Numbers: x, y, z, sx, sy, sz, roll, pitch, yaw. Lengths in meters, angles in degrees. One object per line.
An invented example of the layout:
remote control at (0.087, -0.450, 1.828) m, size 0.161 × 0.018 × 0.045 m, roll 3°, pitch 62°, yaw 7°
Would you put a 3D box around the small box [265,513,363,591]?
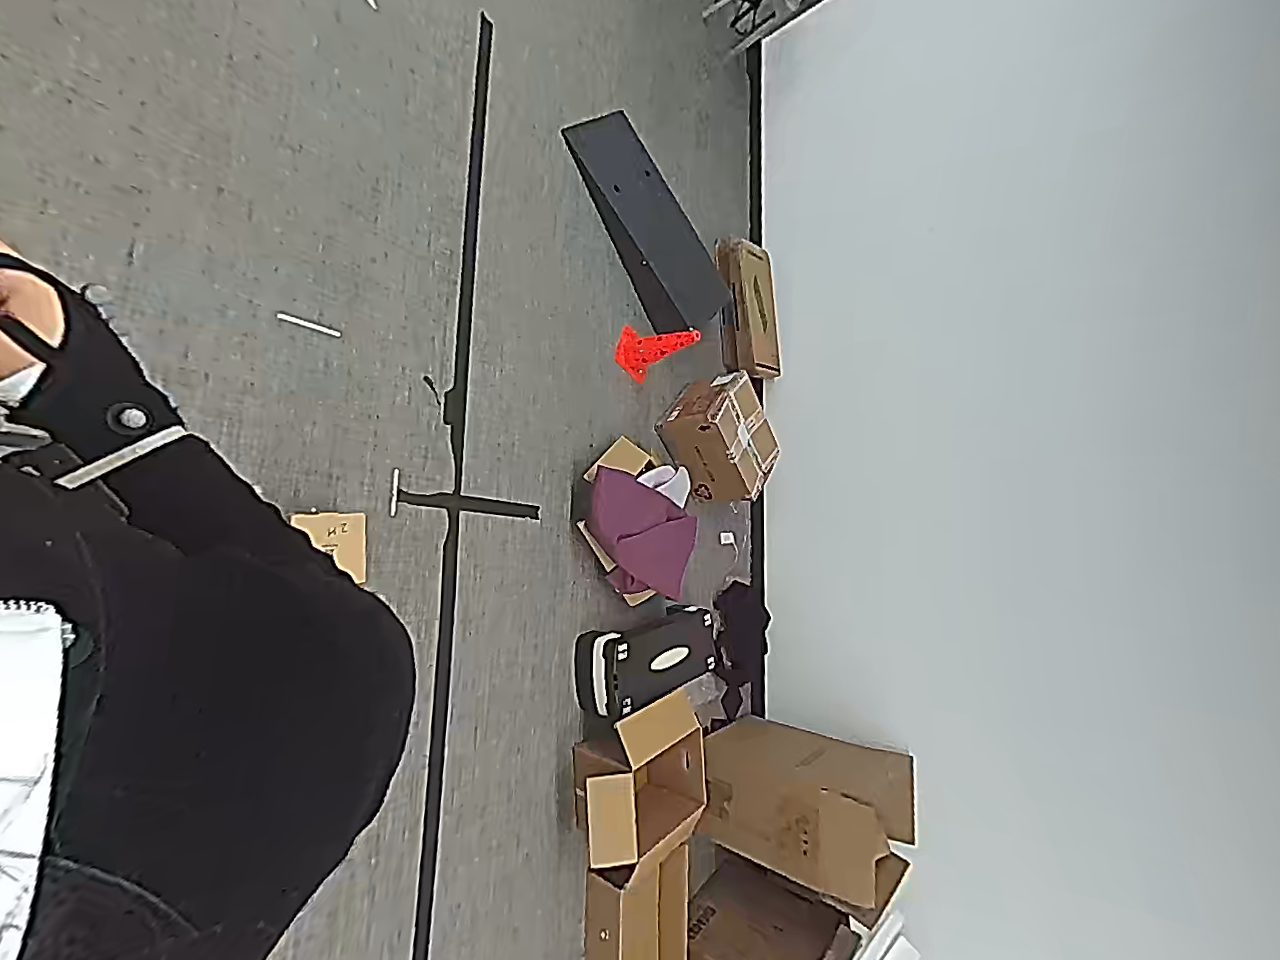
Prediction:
small box at (-0.798, 0.170, 1.324) m, size 0.168 × 0.176 × 0.179 m, roll 2°, pitch 84°, yaw -50°
